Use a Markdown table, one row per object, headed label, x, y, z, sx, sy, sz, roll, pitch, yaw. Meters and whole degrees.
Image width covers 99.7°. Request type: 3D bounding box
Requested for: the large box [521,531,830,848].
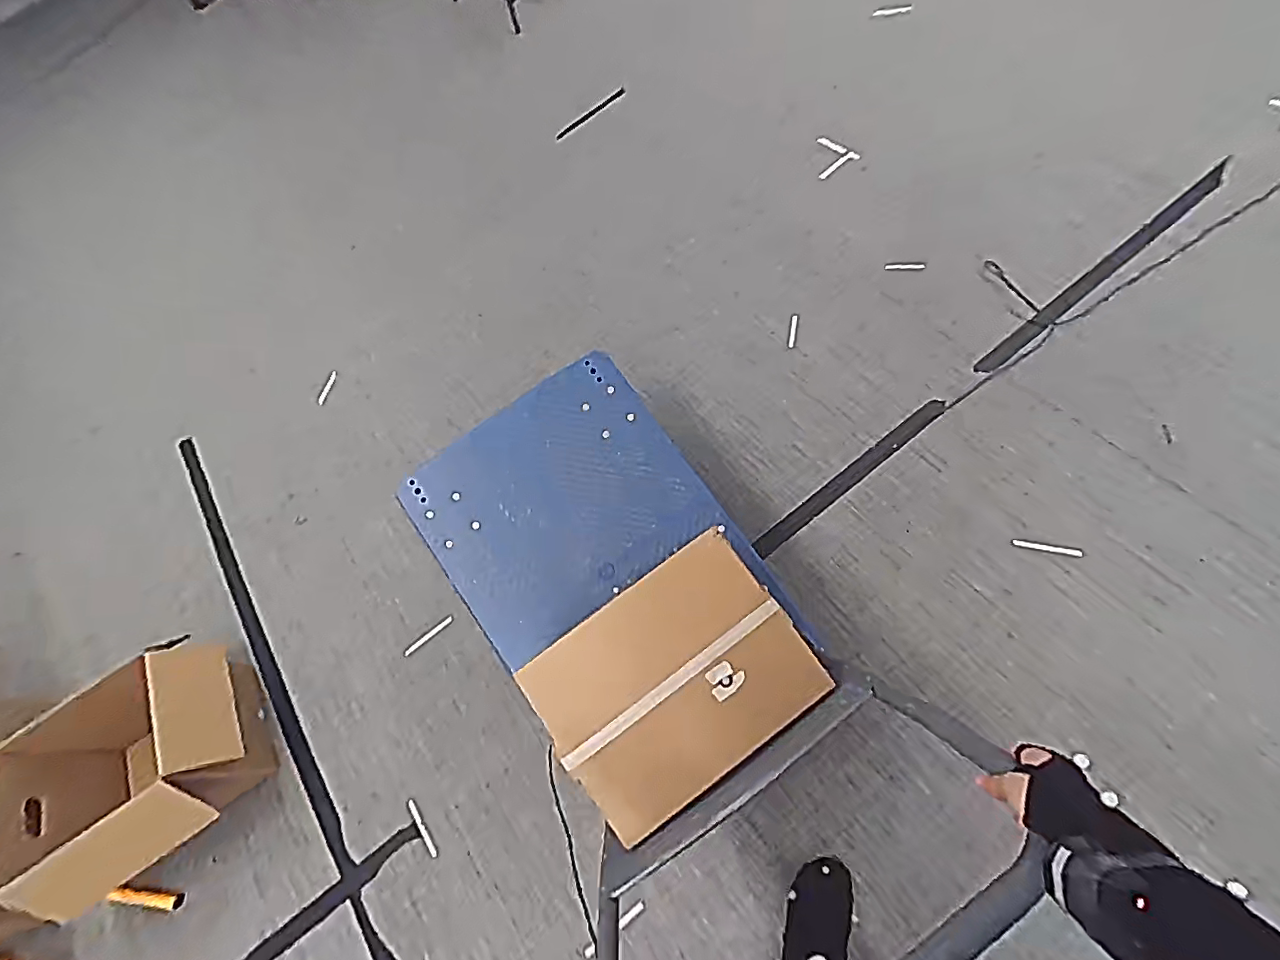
| label | x | y | z | sx | sy | sz | roll | pitch | yaw |
| --- | --- | --- | --- | --- | --- | --- | --- | --- | --- |
| large box | 0.055 | 0.348 | 0.999 | 0.408 | 0.320 | 0.320 | -36 | 82 | -7 |
